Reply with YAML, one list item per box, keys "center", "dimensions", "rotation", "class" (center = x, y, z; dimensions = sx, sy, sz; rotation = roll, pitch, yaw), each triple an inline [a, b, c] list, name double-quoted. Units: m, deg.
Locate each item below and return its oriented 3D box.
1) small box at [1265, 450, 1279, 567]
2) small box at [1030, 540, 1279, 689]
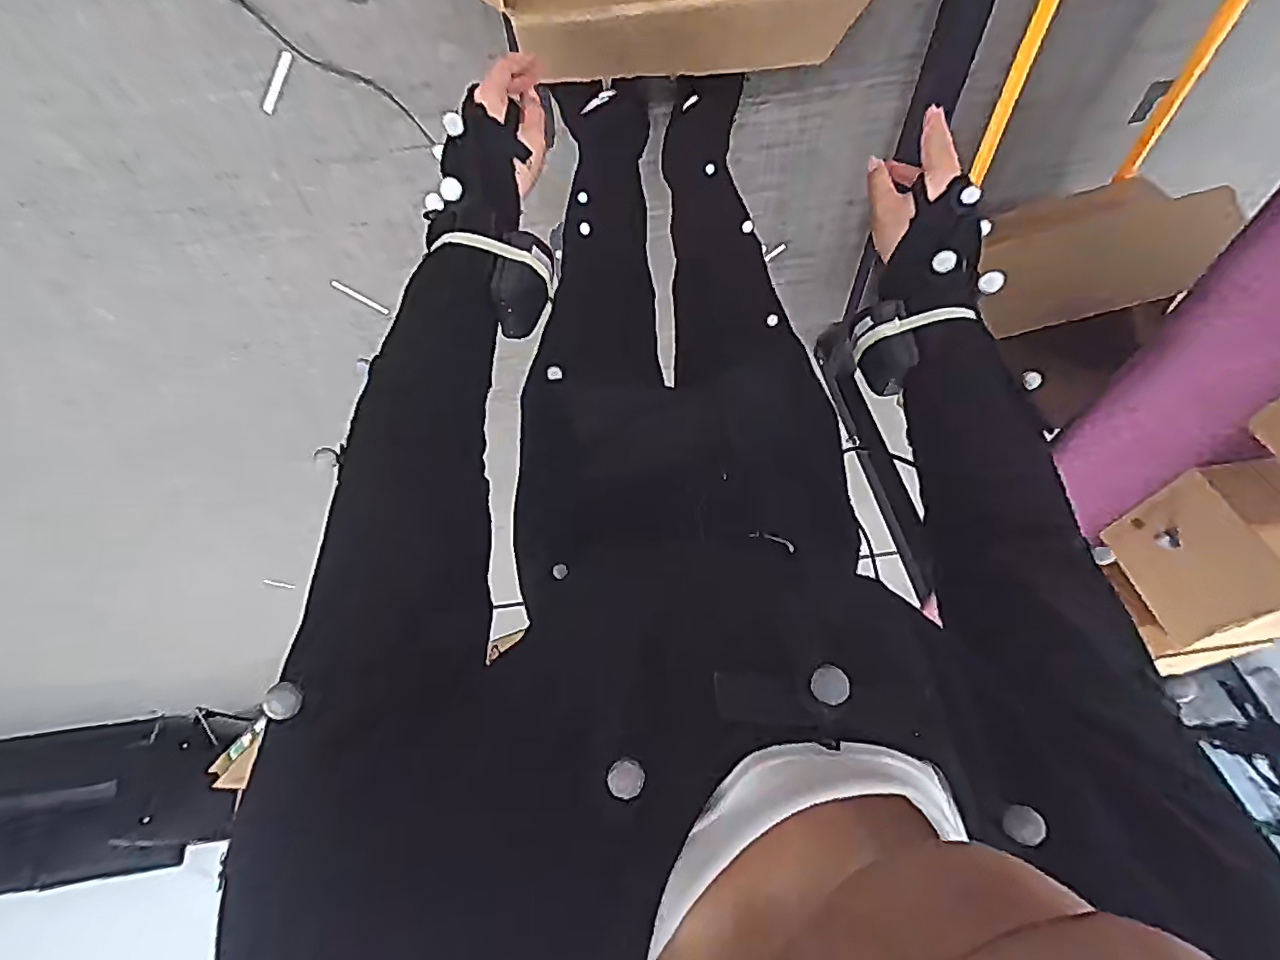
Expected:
- center: [0.720, -0.005, 0.481]
  dimensions: [0.168, 0.176, 0.179]
  rotation: [20, 154, 37]
  class: "small box"
- center: [0.753, 0.201, 0.817]
  dimensions: [0.179, 0.176, 0.168]
  rotation: [-6, 146, -3]
  class: "small box"
